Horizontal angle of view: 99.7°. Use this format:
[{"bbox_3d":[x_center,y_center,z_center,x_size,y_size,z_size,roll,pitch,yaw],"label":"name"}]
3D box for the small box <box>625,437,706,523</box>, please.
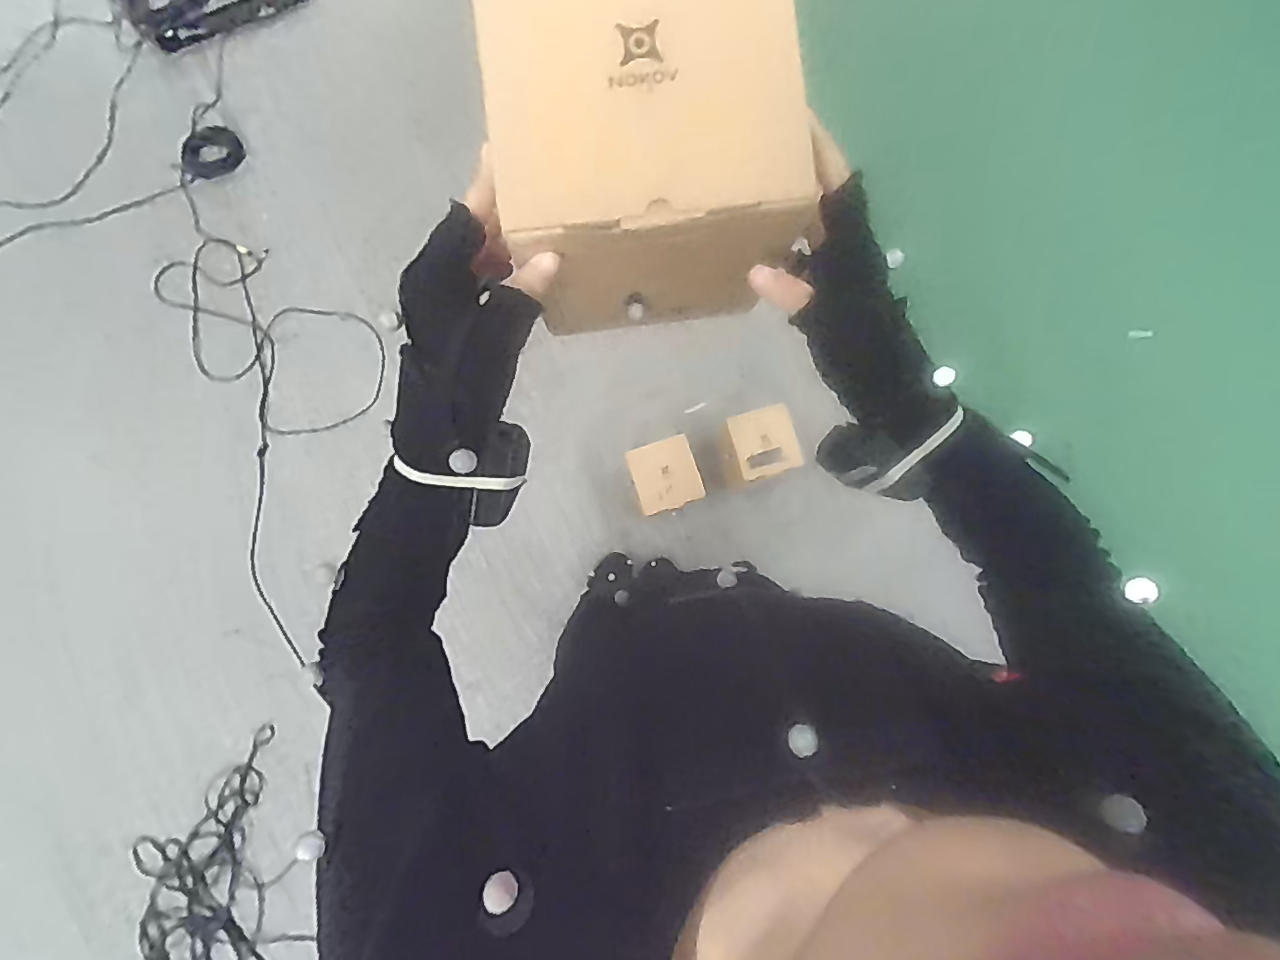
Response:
[{"bbox_3d":[0.060,0.006,1.437,0.168,0.176,0.179,-18,82,-3],"label":"small box"}]
